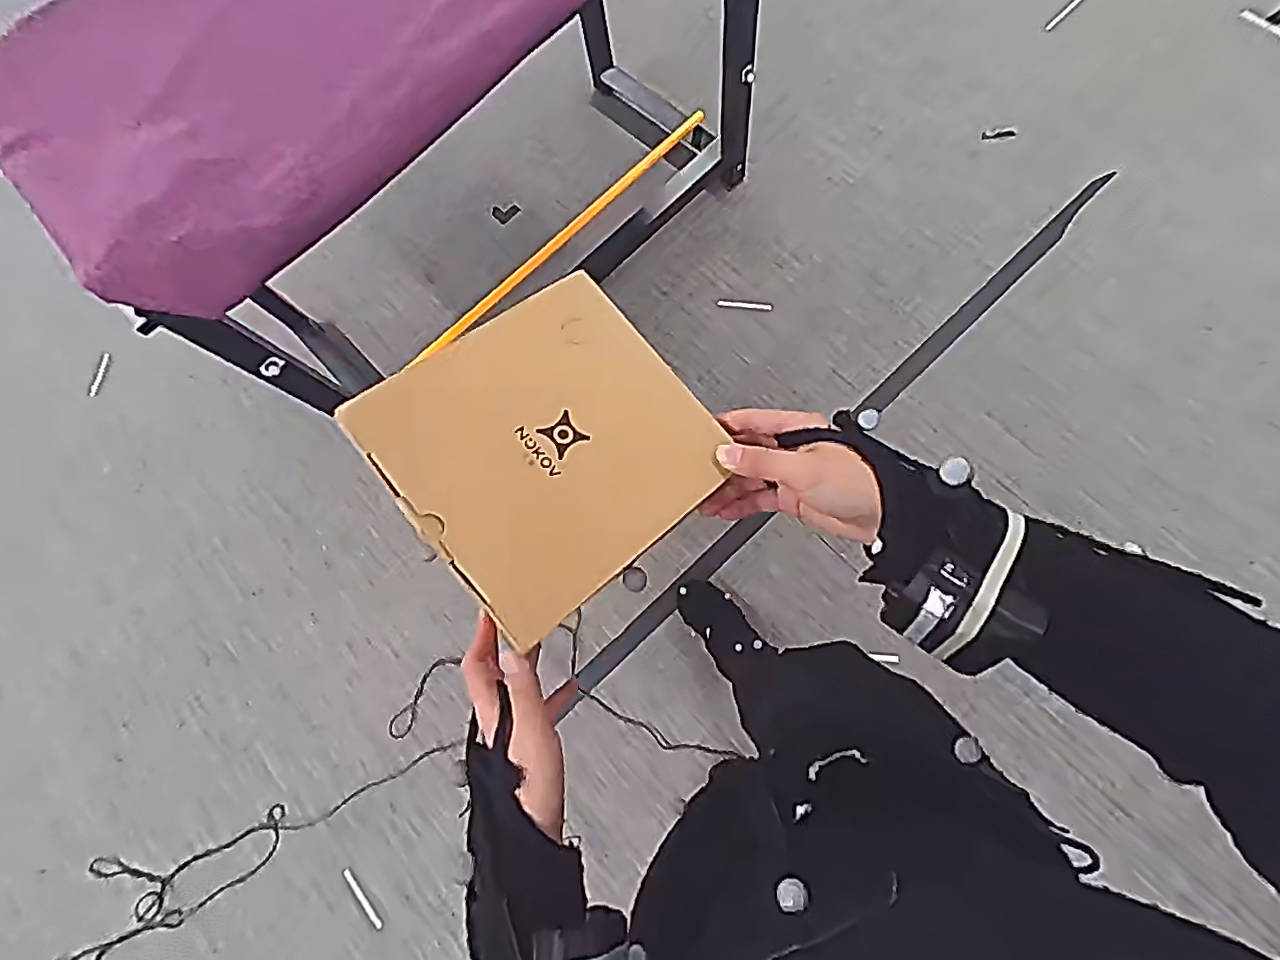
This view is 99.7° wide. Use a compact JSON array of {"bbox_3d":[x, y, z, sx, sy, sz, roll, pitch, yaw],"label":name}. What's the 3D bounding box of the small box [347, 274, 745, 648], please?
[{"bbox_3d":[-0.065,-0.002,0.389,0.179,0.176,0.168,-38,85,-20],"label":"small box"}]
